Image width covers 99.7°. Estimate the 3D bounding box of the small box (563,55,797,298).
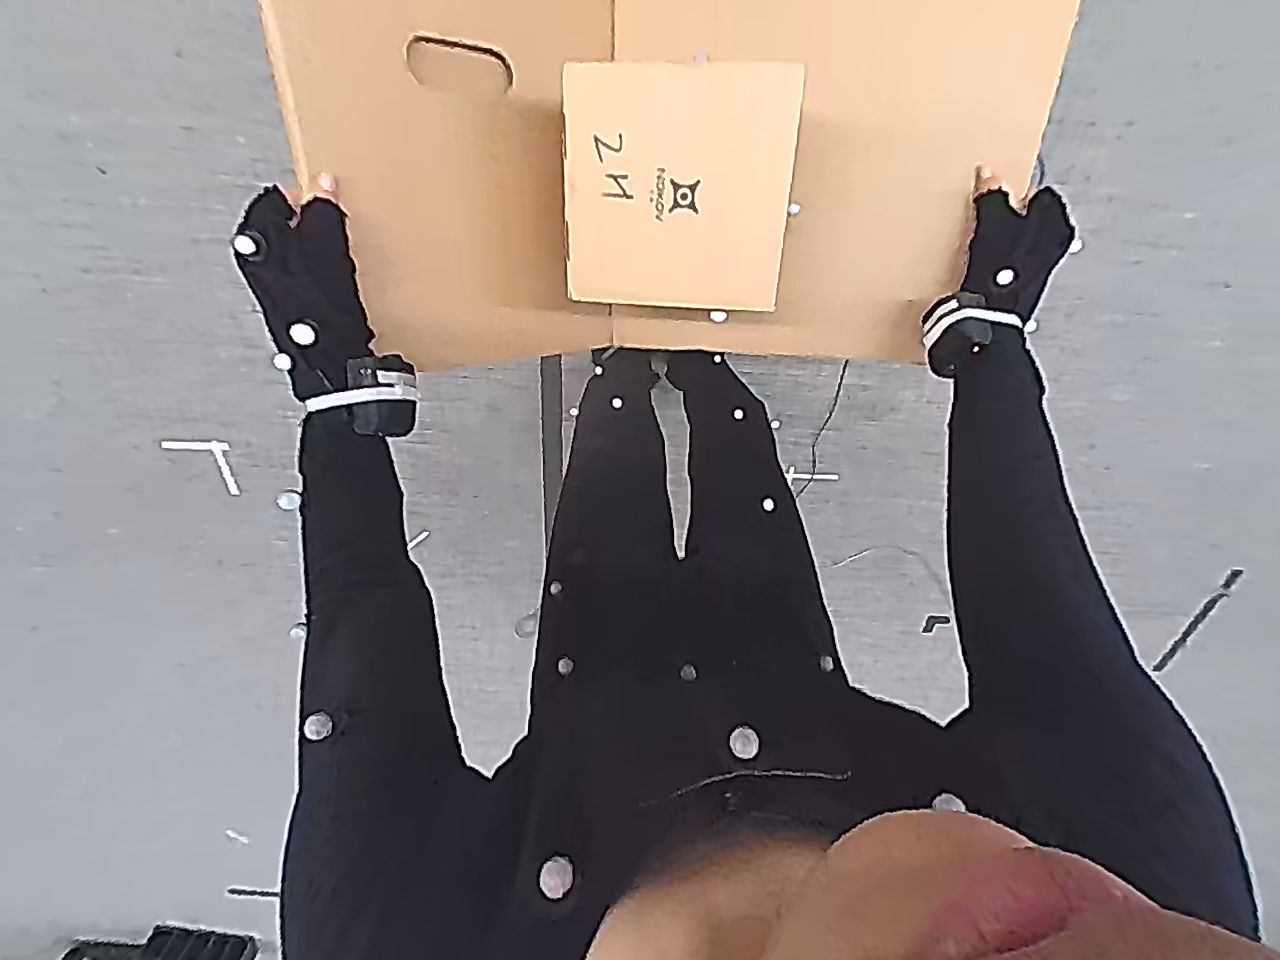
[{"bbox_3d":[0.037,-0.270,0.500,0.179,0.176,0.168,7,116,9],"label":"small box"}]
